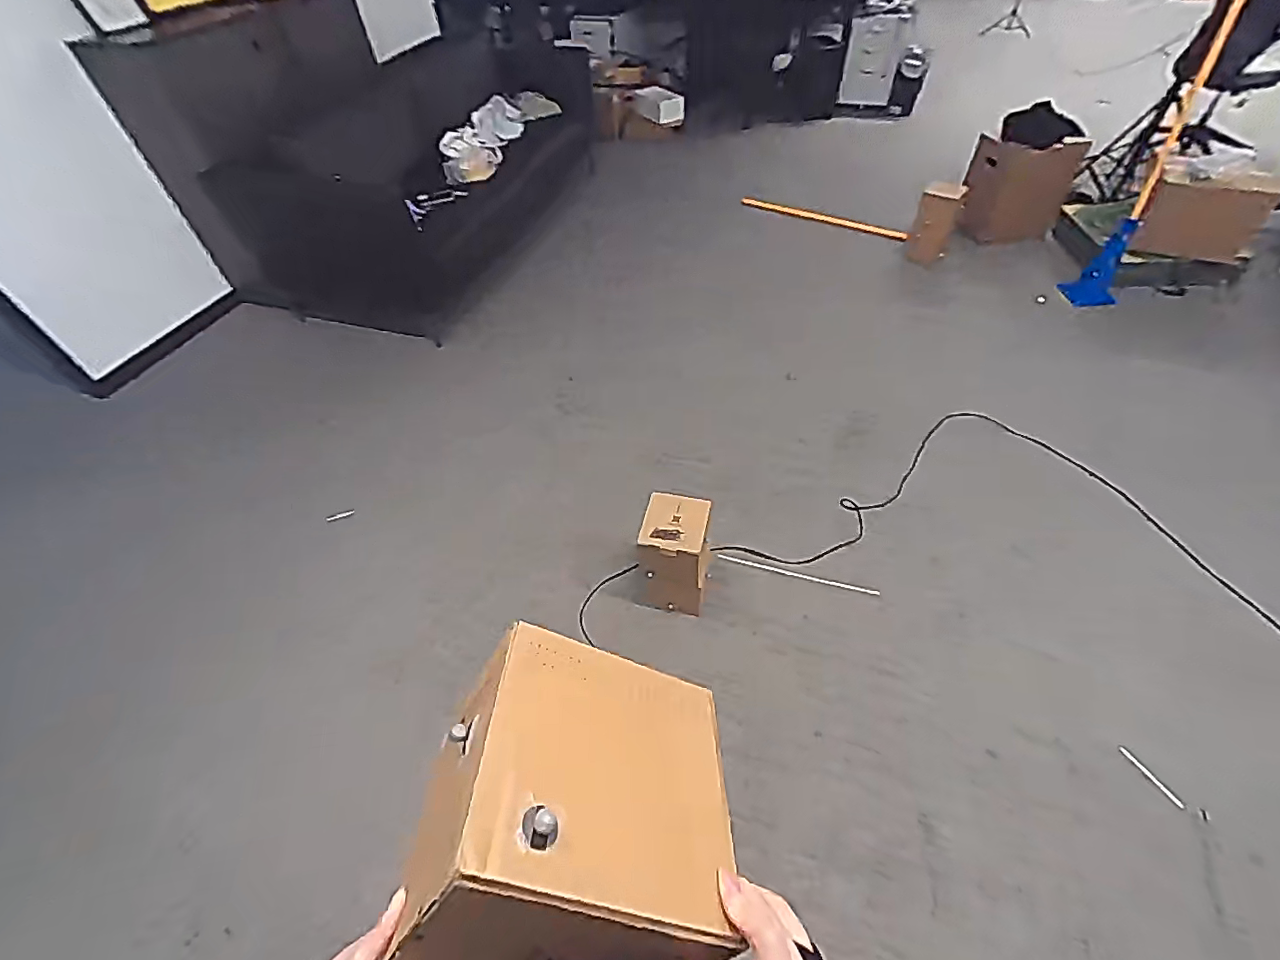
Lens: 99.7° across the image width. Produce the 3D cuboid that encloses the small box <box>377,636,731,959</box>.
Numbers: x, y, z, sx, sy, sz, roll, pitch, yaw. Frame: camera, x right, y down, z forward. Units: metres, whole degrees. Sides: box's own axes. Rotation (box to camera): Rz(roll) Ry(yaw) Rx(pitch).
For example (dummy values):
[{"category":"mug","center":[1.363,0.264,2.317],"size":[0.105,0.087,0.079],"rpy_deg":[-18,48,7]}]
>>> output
[{"category":"small box","center":[-0.056,0.247,0.402],"size":[0.179,0.168,0.176],"rpy_deg":[25,28,-12]}]

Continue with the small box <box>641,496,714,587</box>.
[{"category":"small box","center":[0.109,0.172,1.480],"size":[0.168,0.176,0.179],"rpy_deg":[8,50,12]}]
